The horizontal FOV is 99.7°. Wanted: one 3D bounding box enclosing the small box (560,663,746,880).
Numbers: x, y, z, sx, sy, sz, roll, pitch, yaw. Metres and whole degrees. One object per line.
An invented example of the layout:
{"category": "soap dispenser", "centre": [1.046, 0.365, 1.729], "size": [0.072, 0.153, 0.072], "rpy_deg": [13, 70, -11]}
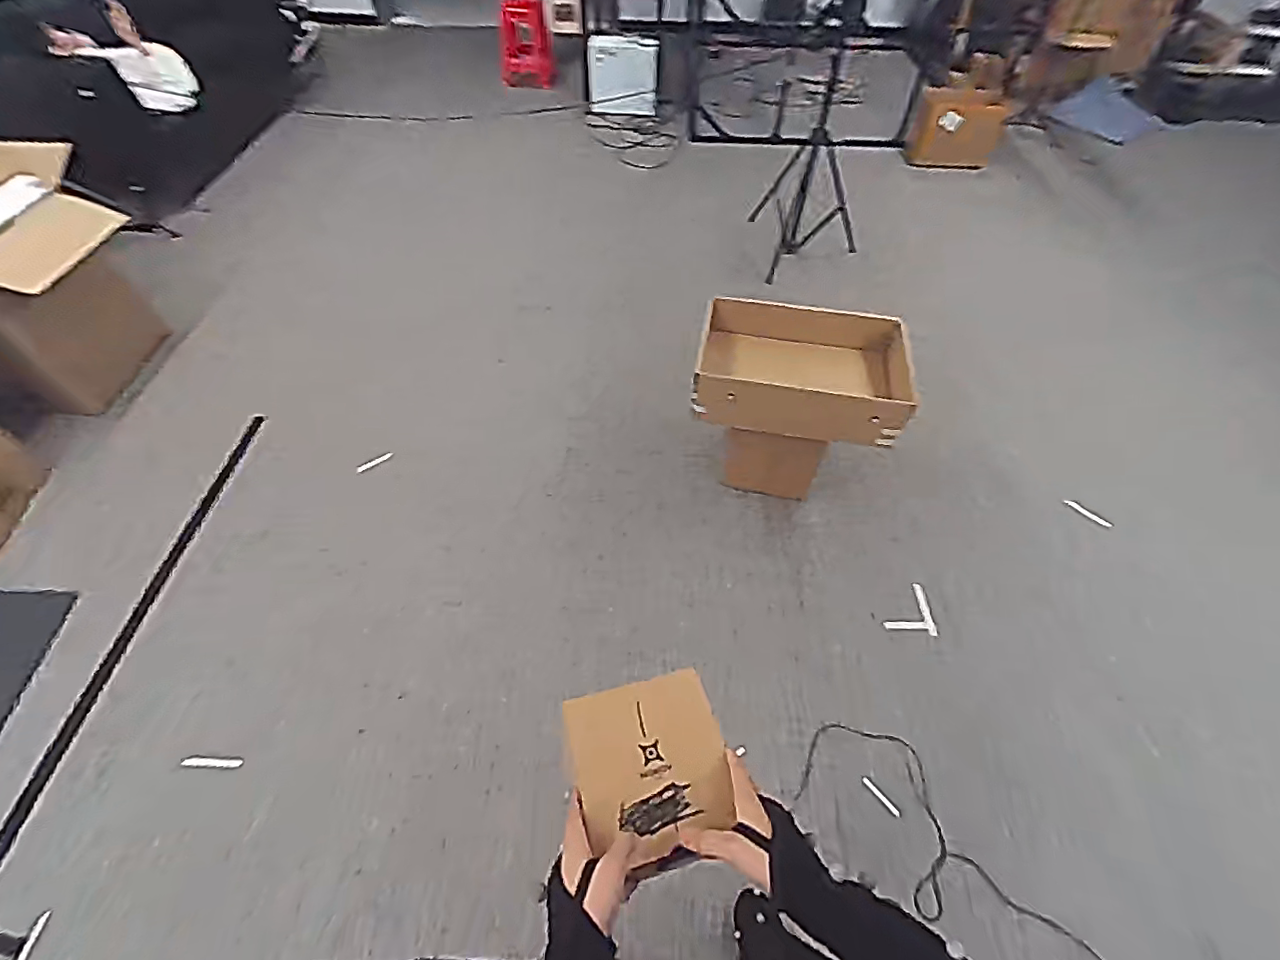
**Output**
{"category": "small box", "centre": [0.004, 0.348, 0.641], "size": [0.168, 0.176, 0.179], "rpy_deg": [-9, 50, -14]}
